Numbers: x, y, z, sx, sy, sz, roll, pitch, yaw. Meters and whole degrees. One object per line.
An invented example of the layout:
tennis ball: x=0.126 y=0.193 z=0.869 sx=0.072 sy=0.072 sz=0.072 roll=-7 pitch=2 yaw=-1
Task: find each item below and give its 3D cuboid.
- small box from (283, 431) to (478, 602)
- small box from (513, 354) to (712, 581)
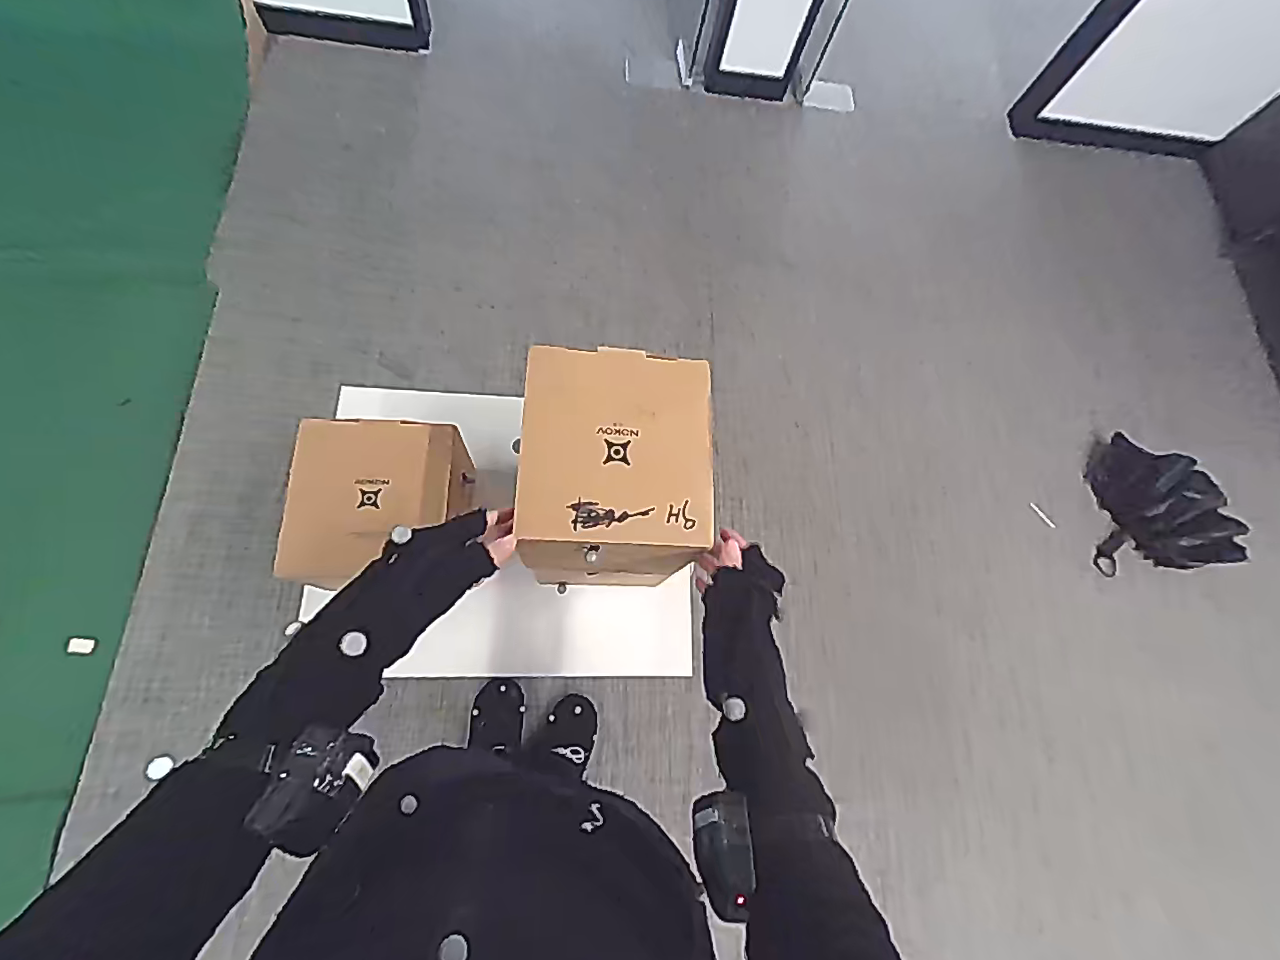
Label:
small box: x=-0.297 y=0.052 z=0.662 sx=0.168 sy=0.176 sz=0.179 roll=-1 pitch=74 yaw=-7
small box: x=-0.030 y=-0.002 z=0.539 sx=0.168 sy=0.176 sz=0.179 roll=2 pitch=71 yaw=-6
